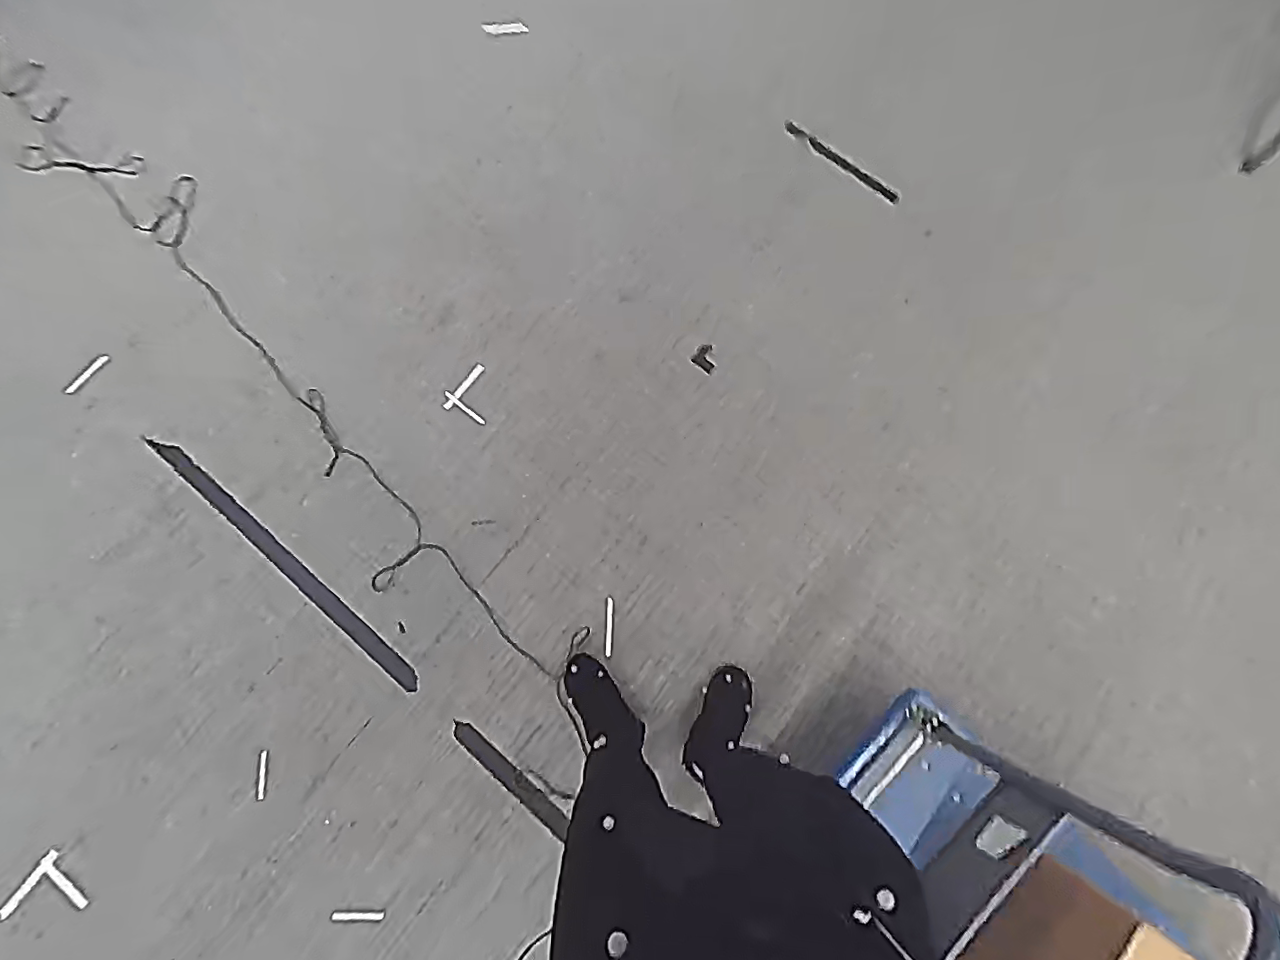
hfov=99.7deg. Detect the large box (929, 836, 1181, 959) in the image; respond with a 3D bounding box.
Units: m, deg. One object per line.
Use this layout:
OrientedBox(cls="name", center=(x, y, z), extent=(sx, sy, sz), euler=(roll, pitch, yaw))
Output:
OrientedBox(cls="large box", center=(0.713, 0.907, 0.871), extent=(0.320, 0.320, 0.408), euler=(37, 83, 9))
